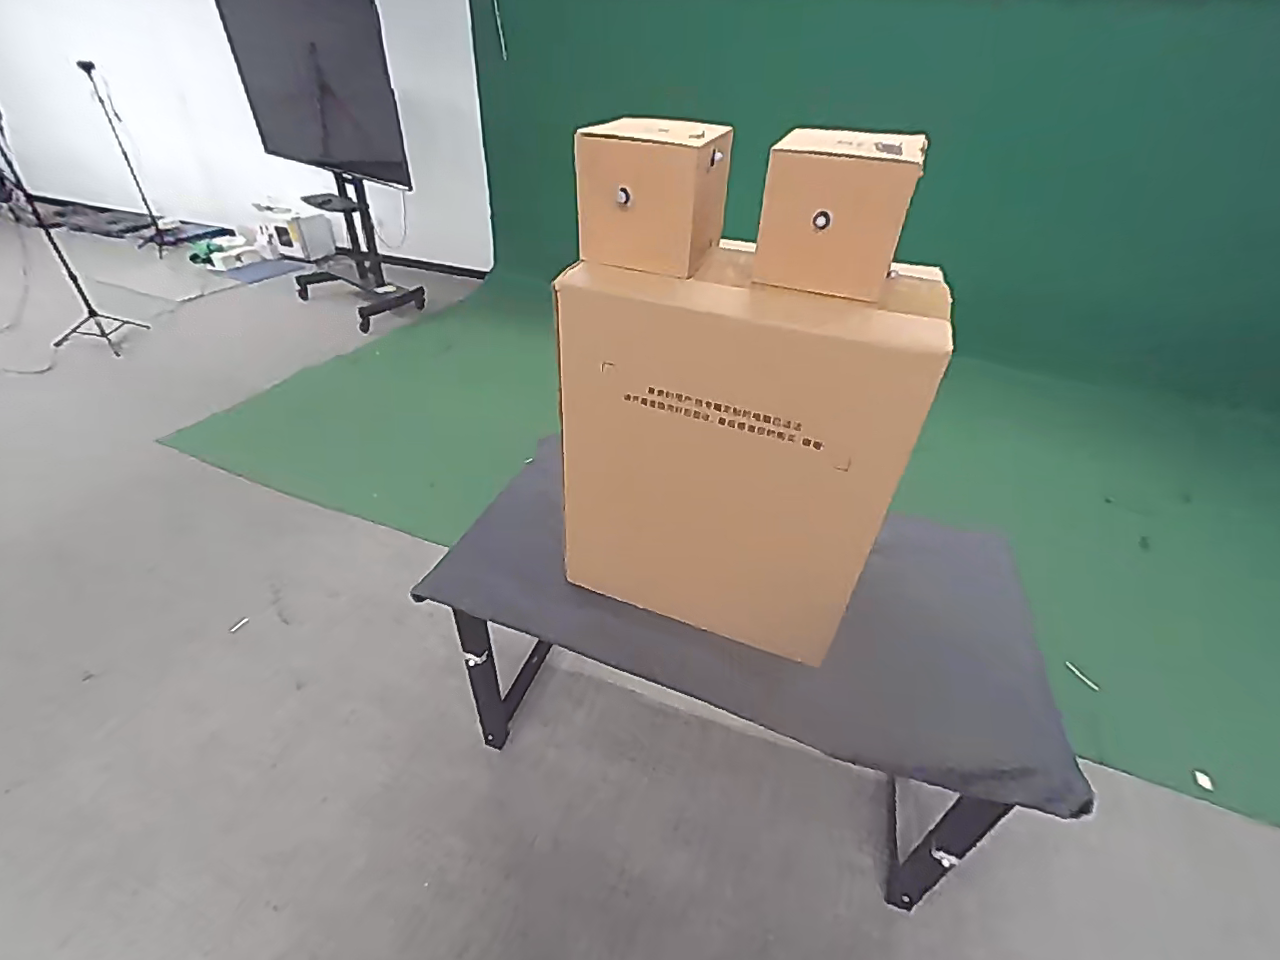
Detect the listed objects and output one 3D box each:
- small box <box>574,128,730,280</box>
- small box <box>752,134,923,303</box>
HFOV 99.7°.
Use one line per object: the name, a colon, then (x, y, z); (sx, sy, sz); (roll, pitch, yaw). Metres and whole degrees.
small box: (0.021, -0.412, 0.804); (0.179, 0.176, 0.168); (16, 43, 17)
small box: (0.267, -0.361, 0.746); (0.179, 0.176, 0.168); (16, 43, 18)
